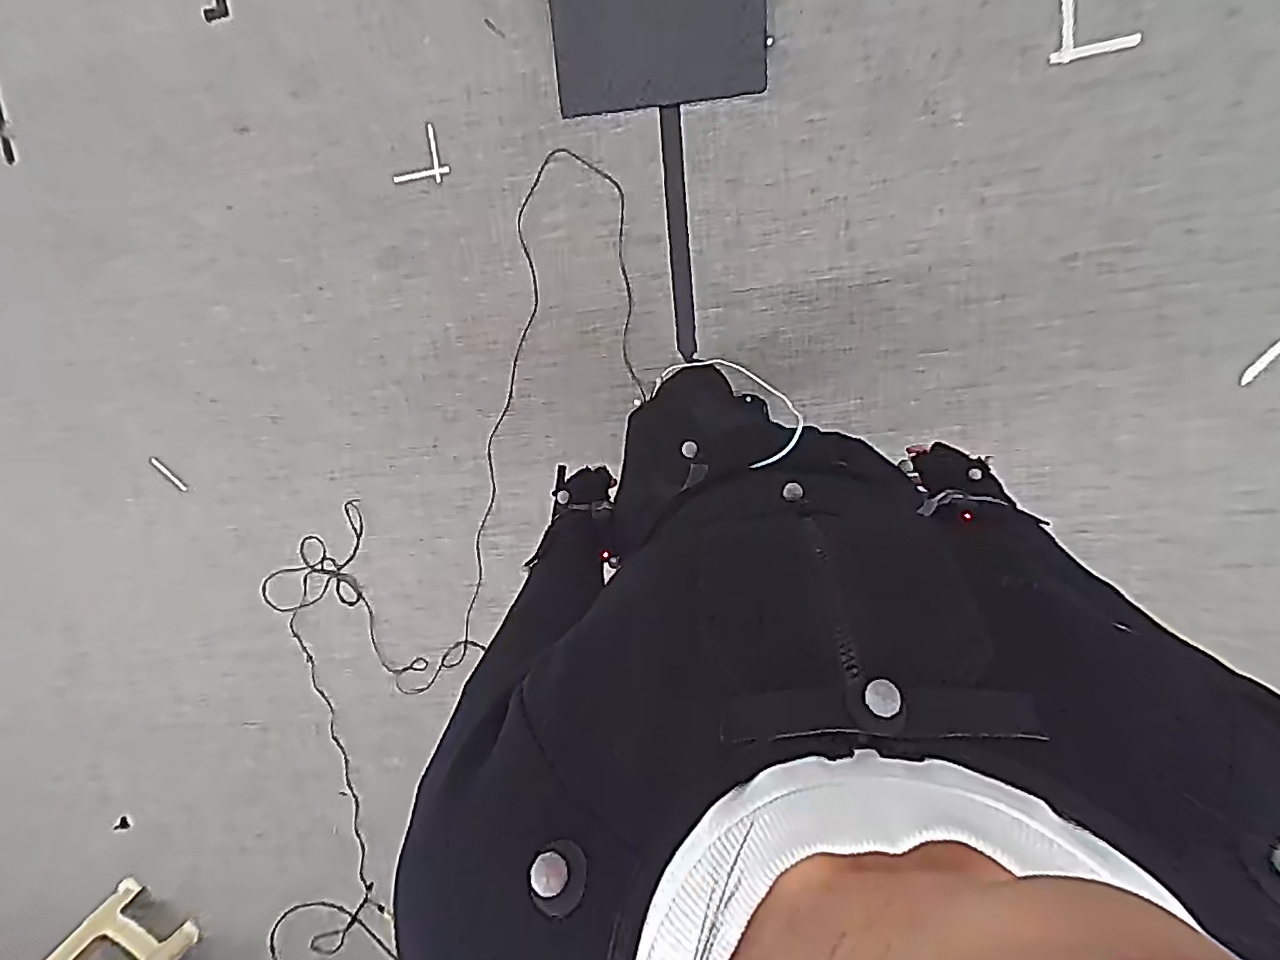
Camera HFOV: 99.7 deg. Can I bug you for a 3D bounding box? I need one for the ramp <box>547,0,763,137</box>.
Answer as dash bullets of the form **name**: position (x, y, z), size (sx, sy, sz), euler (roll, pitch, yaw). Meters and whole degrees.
- **ramp**: position (0.001, -1.339, 1.153), size (0.509, 0.206, 0.991), euler (-5, 99, 8)
